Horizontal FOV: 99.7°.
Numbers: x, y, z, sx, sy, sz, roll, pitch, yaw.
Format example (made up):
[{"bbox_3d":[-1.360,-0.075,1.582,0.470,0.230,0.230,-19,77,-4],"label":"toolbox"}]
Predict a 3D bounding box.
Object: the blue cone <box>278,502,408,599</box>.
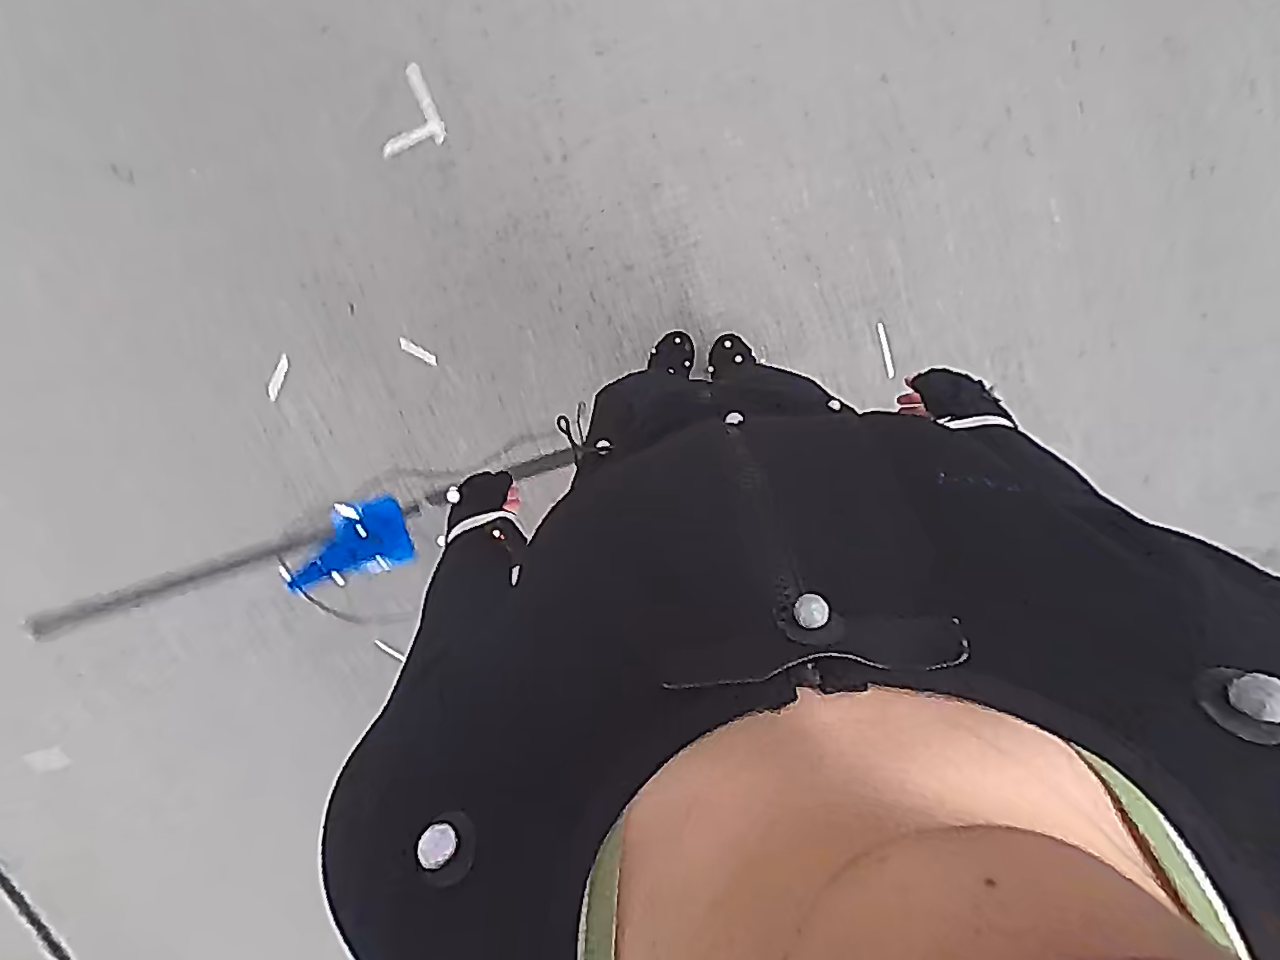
[{"bbox_3d":[-0.765,0.201,1.365,0.192,0.380,0.193,-15,103,5],"label":"blue cone"}]
